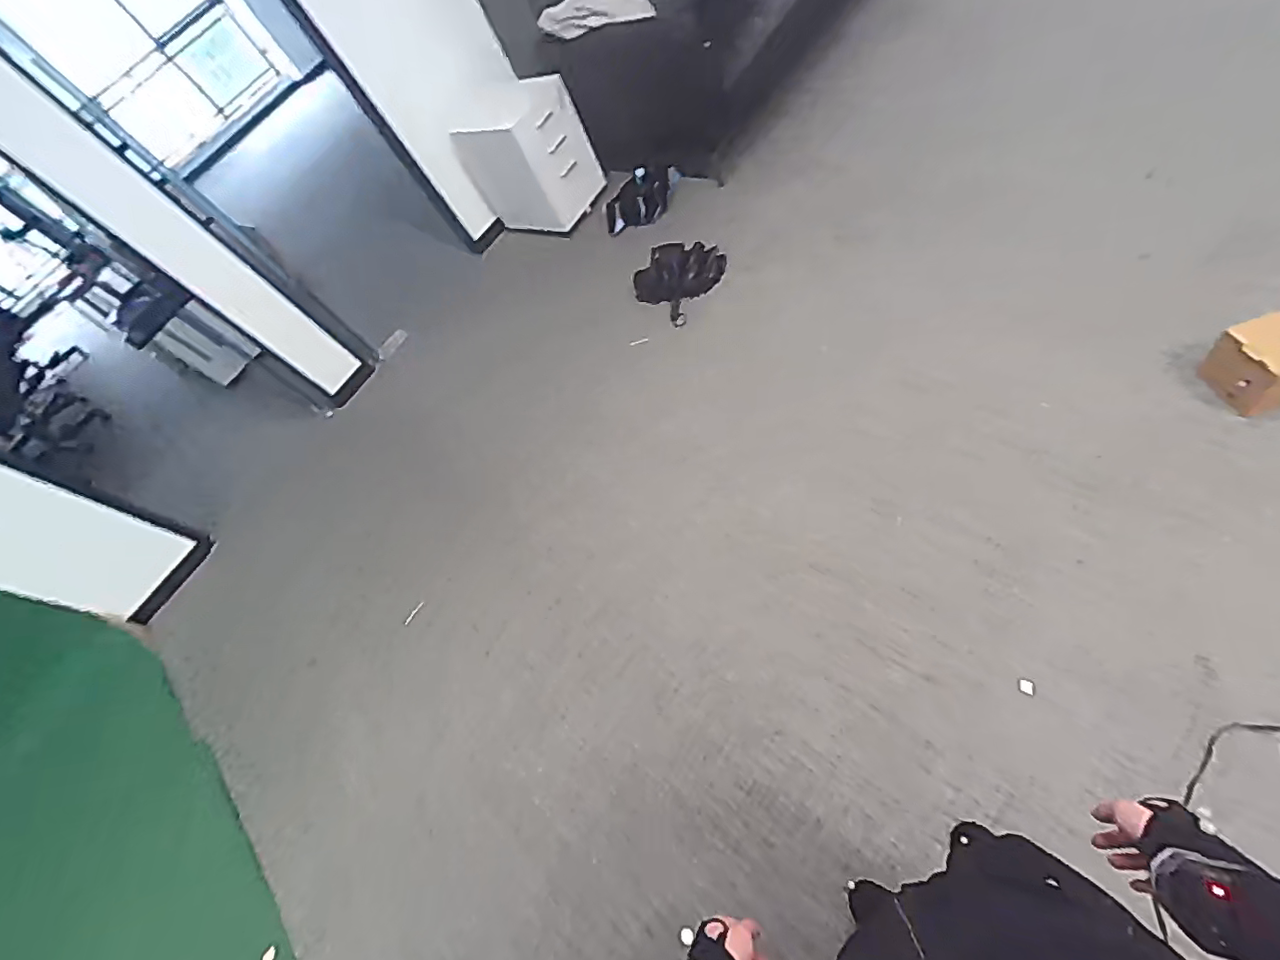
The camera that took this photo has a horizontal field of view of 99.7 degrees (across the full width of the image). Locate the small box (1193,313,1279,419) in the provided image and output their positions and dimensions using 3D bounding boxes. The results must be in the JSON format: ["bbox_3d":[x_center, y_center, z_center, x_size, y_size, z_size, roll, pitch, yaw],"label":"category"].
[{"bbox_3d":[1.524,-0.277,1.325,0.179,0.176,0.168,-20,54,12],"label":"small box"}]
